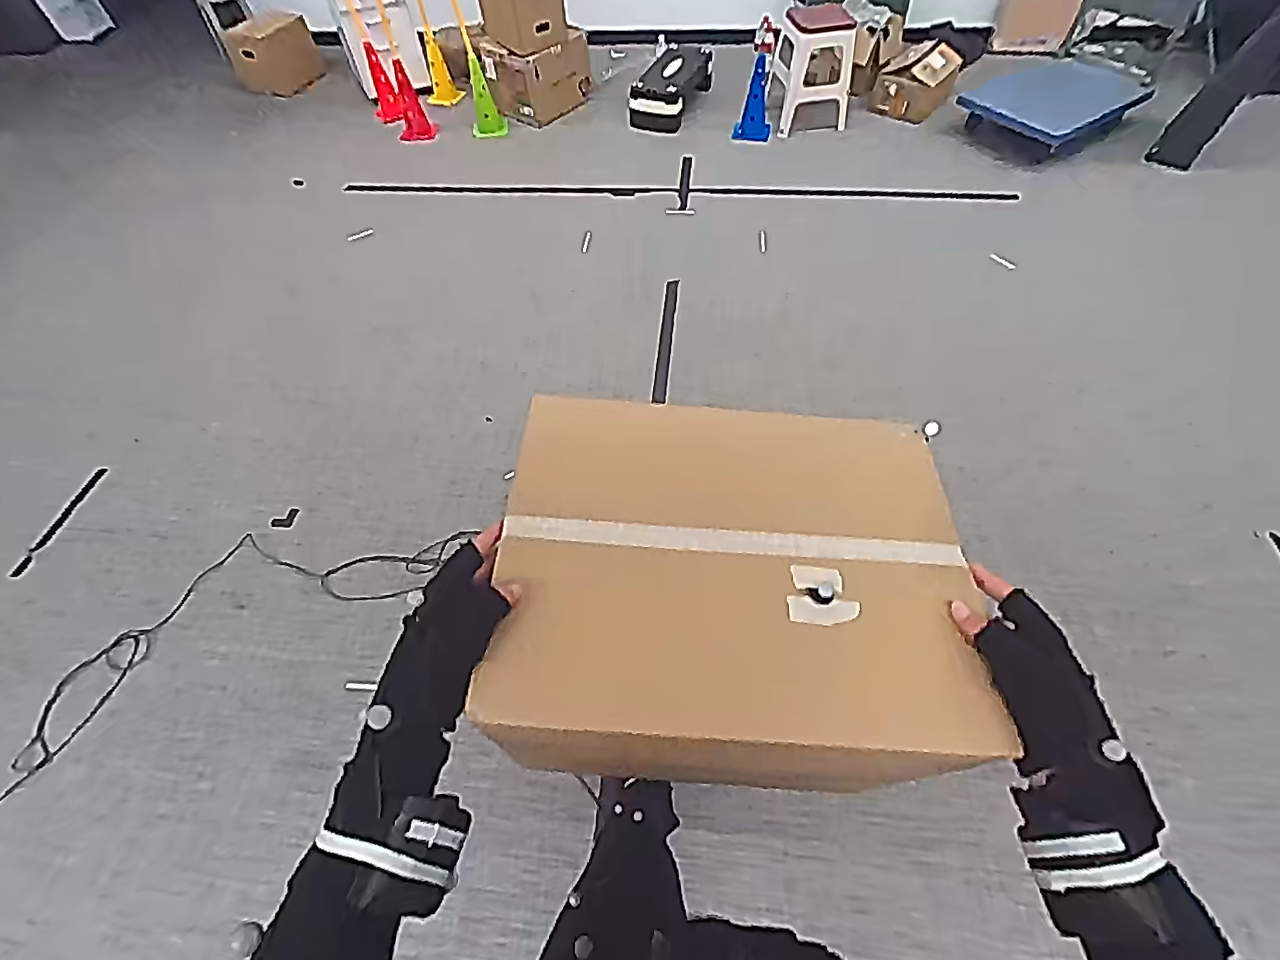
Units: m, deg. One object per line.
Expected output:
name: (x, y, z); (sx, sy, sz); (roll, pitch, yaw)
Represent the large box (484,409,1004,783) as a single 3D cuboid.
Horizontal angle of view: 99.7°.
large box: (0.074, 0.145, 0.608); (0.408, 0.320, 0.320); (4, 56, -2)
